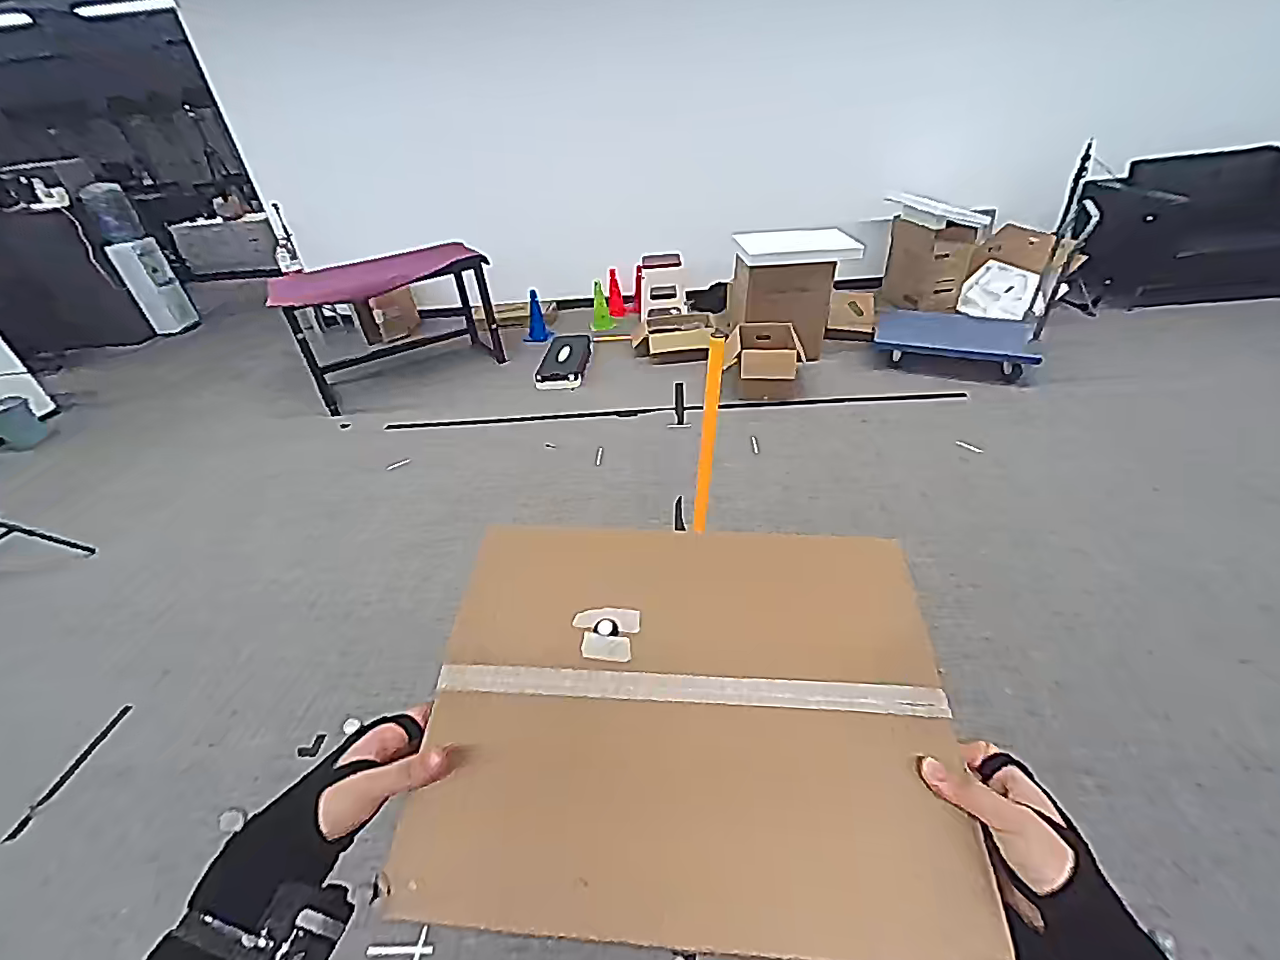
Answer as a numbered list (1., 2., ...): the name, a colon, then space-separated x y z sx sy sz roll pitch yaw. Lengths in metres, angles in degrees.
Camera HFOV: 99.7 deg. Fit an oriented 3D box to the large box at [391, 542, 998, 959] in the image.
1. large box: 0.046 0.277 0.558 0.408 0.320 0.320 -1 48 6
